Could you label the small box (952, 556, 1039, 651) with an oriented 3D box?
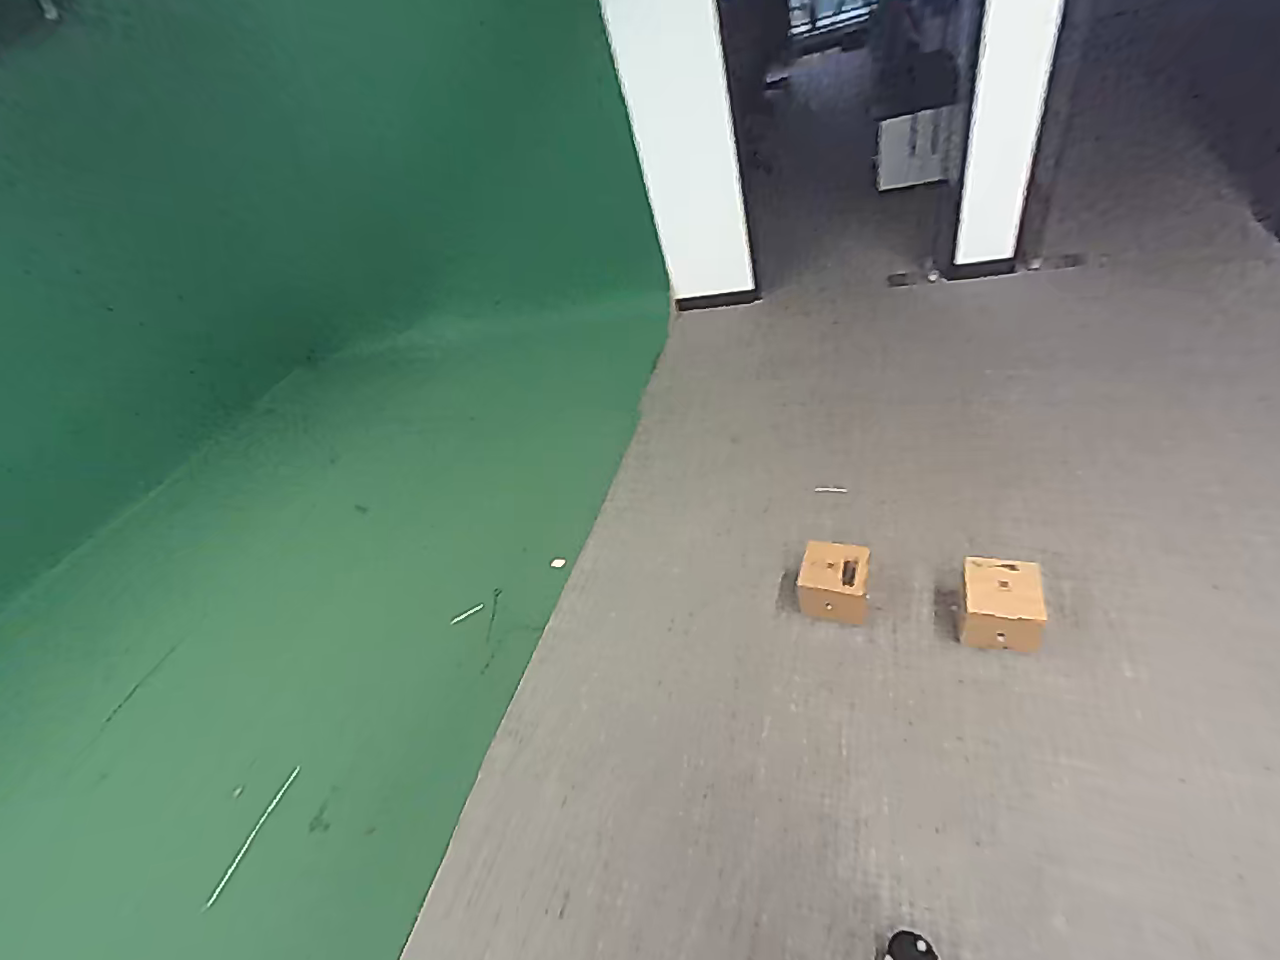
[{"bbox_3d":[0.926,0.327,1.422,0.168,0.176,0.179,3,48,24],"label":"small box"}]
